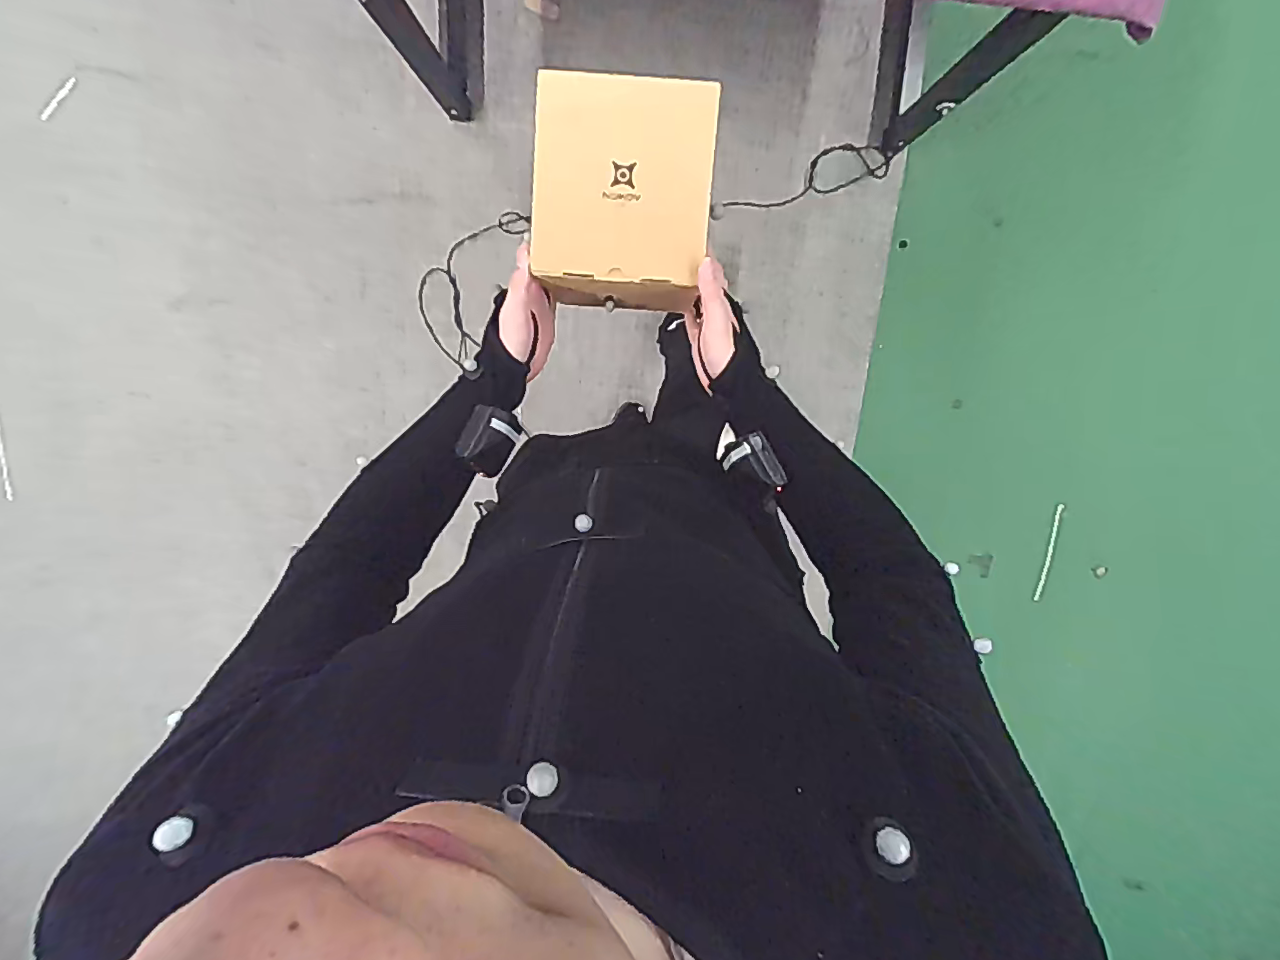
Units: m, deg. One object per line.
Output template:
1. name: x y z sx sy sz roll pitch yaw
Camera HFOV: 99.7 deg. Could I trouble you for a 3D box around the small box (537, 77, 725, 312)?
1. small box: -0.012 -0.284 0.578 0.168 0.176 0.179 4 102 -2
